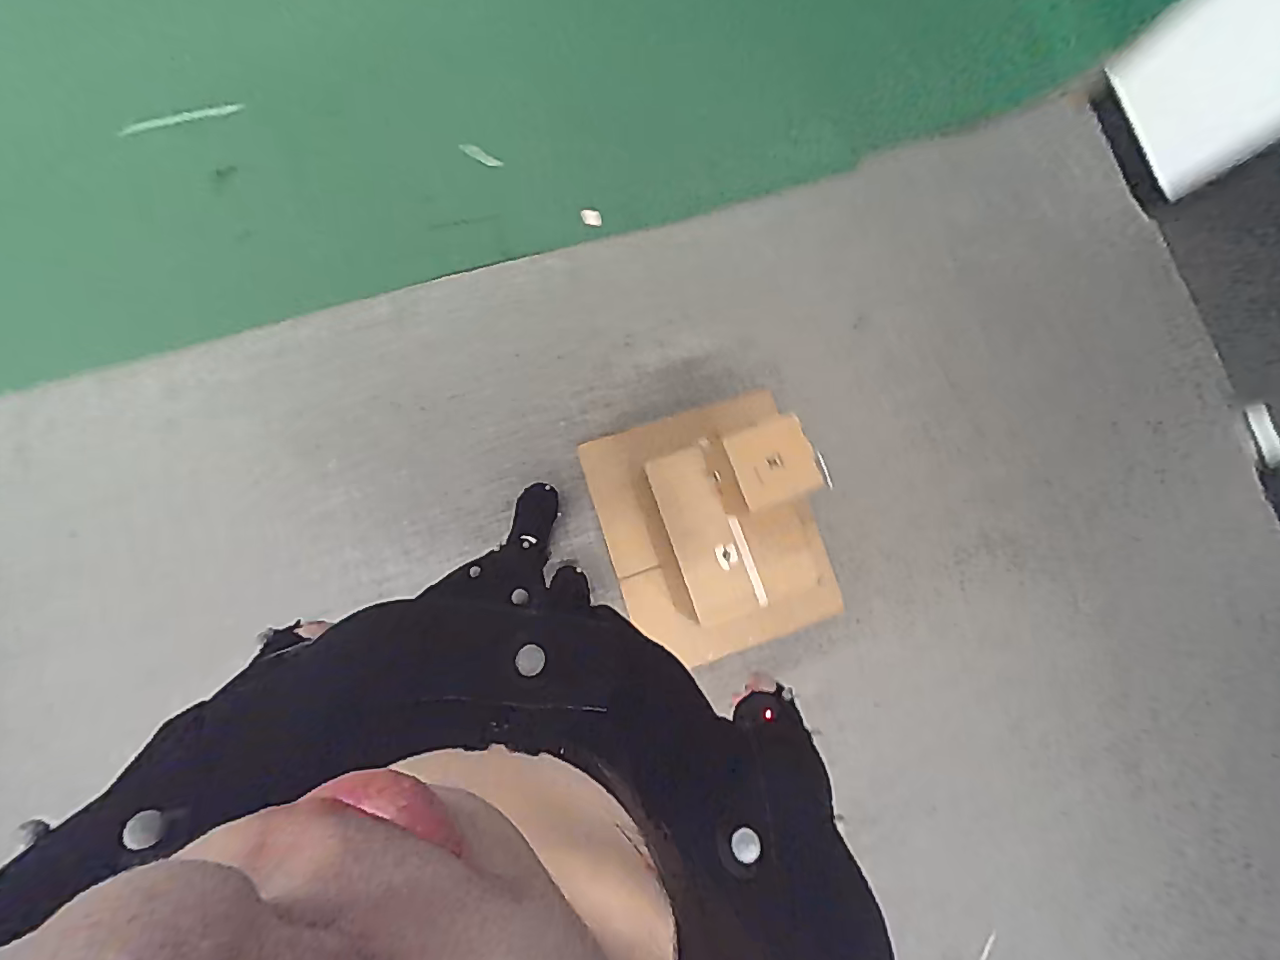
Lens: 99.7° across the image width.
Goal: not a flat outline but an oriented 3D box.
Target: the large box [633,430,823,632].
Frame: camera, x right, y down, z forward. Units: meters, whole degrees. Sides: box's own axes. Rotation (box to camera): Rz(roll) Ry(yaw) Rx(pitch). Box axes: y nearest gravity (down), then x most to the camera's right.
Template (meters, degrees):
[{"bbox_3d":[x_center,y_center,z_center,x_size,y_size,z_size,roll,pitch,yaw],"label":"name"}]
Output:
[{"bbox_3d":[0.203,0.127,1.402,0.320,0.320,0.408,-18,87,-8],"label":"large box"}]

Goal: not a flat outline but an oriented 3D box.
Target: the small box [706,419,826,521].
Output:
[{"bbox_3d":[0.267,-0.016,1.180,0.179,0.176,0.168,-20,85,-9],"label":"small box"}]
